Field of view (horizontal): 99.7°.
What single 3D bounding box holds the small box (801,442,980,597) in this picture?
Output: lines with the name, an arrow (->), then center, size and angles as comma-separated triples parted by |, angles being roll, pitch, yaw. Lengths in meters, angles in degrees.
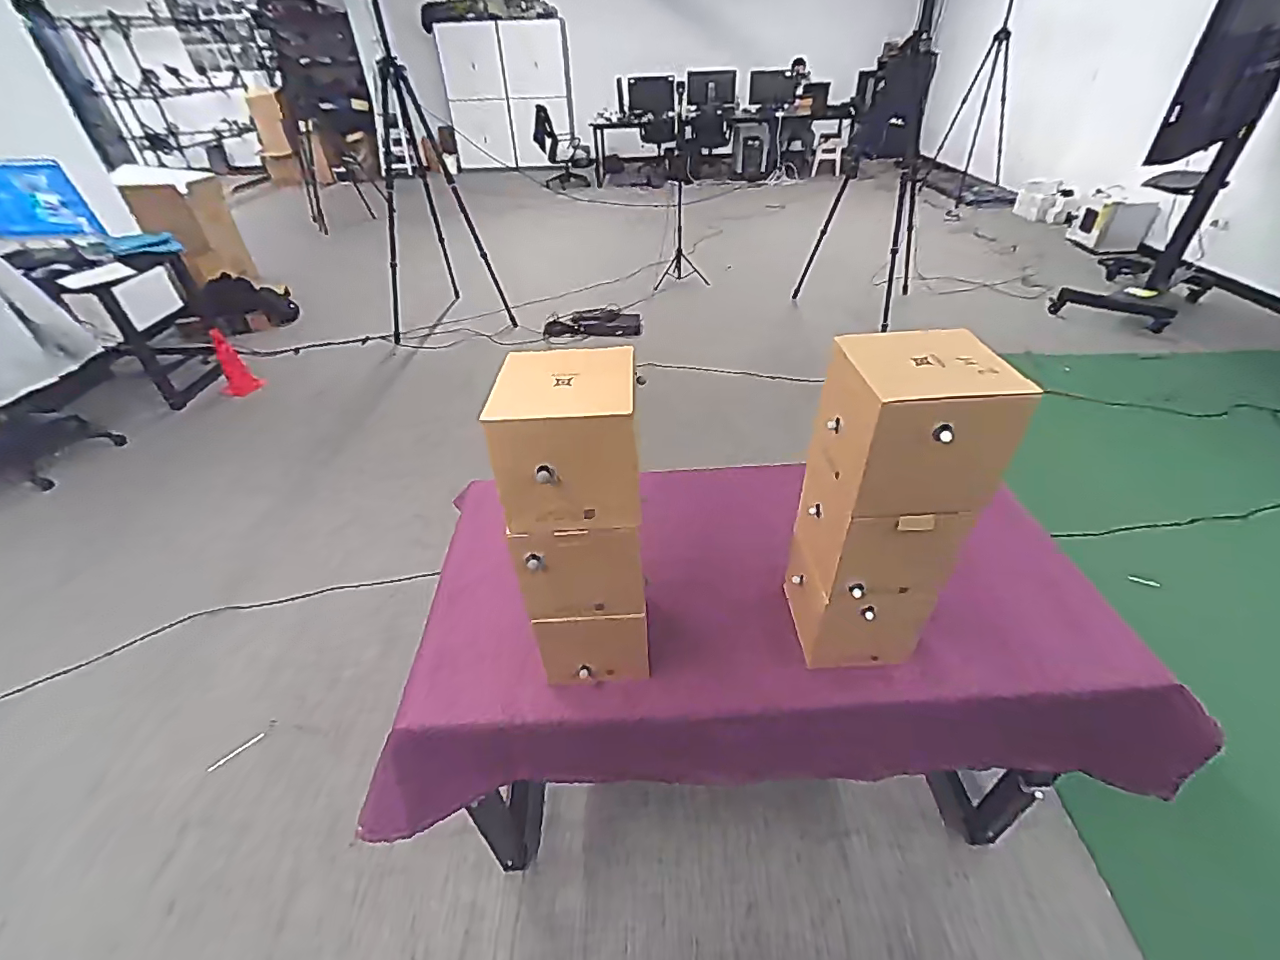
small box -> 0.345, 0.057, 0.786 | 0.168, 0.176, 0.179 | -3, 38, 0

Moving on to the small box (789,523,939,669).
small box -> 0.351, 0.185, 0.888 | 0.168, 0.176, 0.179 | -4, 38, 1

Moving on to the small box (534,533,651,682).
small box -> -0.069, 0.208, 0.888 | 0.168, 0.176, 0.179 | -3, 40, 1

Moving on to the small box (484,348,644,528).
small box -> -0.081, -0.050, 0.687 | 0.168, 0.176, 0.179 | -2, 37, 2

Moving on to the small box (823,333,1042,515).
small box -> 0.341, -0.069, 0.679 | 0.179, 0.176, 0.168 | -2, 40, 0
